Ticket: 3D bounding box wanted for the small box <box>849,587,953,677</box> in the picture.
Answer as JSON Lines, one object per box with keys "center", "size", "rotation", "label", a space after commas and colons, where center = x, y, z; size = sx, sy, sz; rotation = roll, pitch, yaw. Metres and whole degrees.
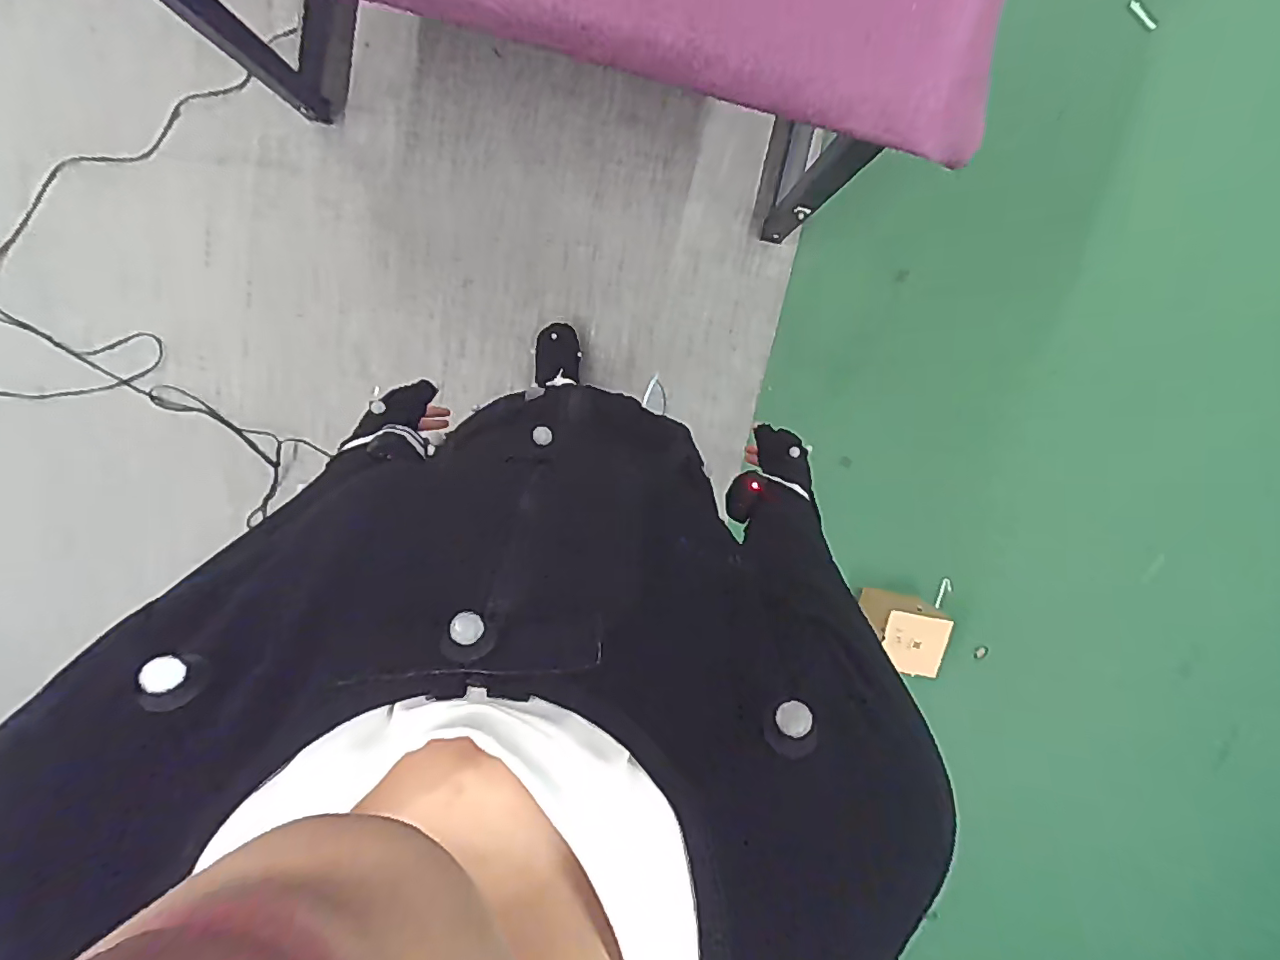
{"center": [0.707, 0.409, 1.484], "size": [0.179, 0.176, 0.168], "rotation": [12, 101, -4], "label": "small box"}
